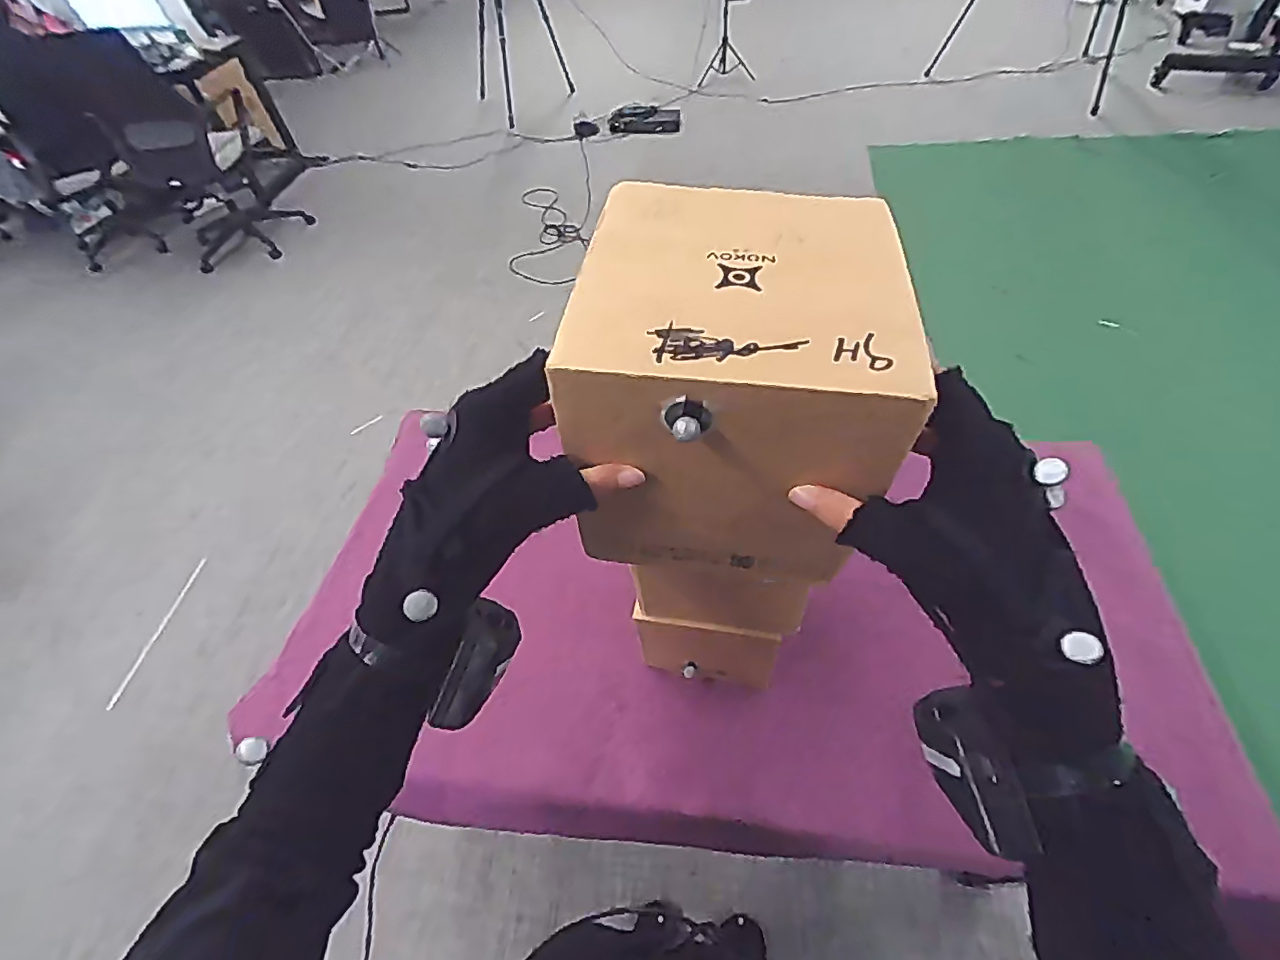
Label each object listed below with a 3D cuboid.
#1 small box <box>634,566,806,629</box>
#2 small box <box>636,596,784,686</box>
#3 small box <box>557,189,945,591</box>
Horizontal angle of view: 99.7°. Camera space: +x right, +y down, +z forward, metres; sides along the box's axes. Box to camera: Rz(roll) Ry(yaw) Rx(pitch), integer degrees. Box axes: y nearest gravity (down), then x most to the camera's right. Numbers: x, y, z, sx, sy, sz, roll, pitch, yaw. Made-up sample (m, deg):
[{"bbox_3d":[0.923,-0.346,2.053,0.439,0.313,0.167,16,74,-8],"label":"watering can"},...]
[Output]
[{"bbox_3d":[0.089,0.043,0.574,0.179,0.176,0.168,4,53,10],"label":"small box"},{"bbox_3d":[0.097,0.144,0.701,0.168,0.176,0.179,5,54,11],"label":"small box"},{"bbox_3d":[0.057,-0.055,0.339,0.168,0.176,0.179,6,52,7],"label":"small box"}]
